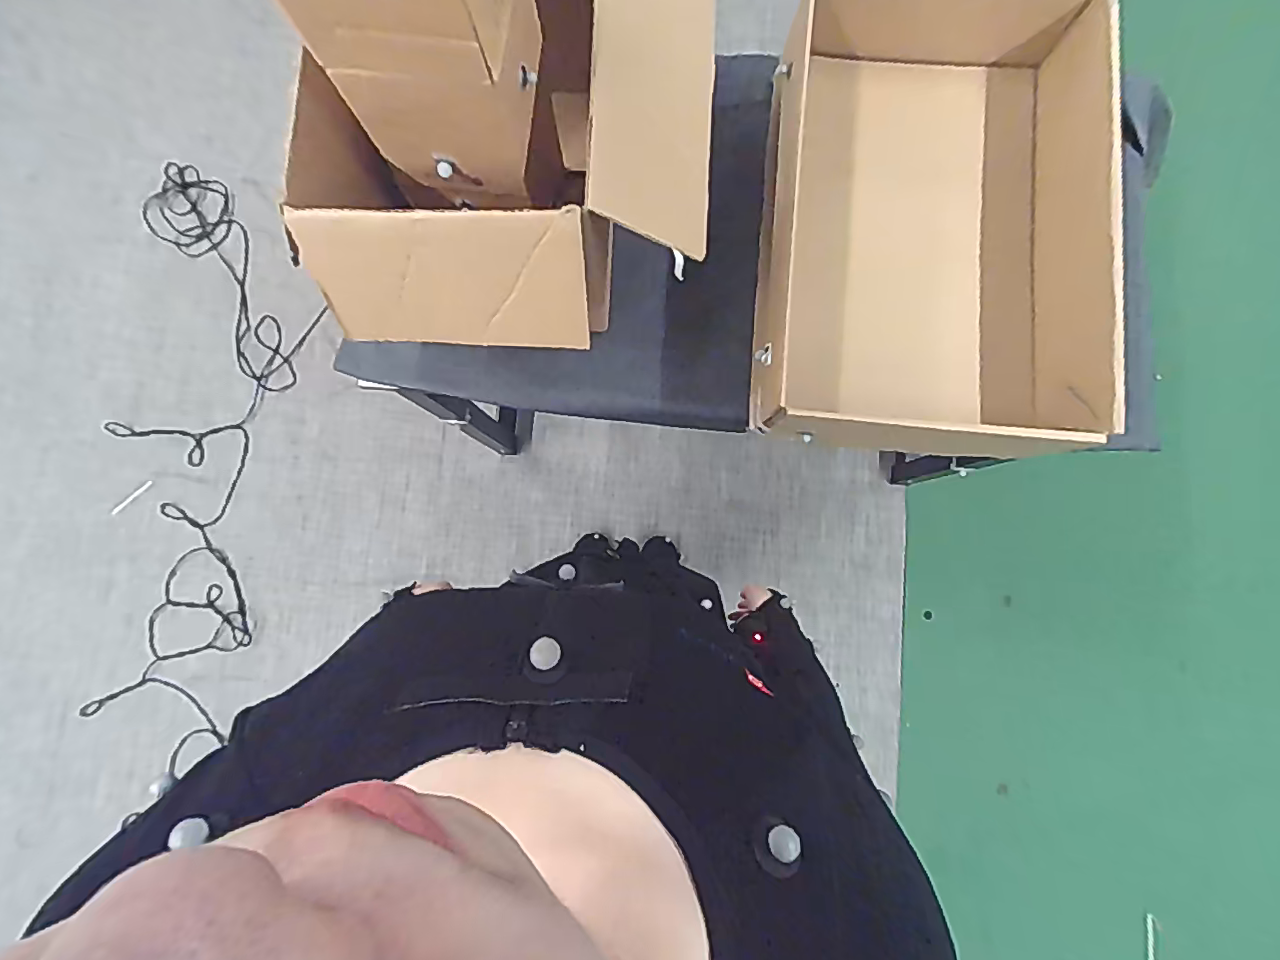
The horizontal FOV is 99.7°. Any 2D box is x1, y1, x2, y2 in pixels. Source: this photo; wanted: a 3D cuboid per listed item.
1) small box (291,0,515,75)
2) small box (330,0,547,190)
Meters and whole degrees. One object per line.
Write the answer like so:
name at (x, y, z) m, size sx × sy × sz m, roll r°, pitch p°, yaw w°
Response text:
small box at (-0.207, -0.475, 0.439) m, size 0.179 × 0.176 × 0.168 m, roll 8°, pitch 84°, yaw 0°
small box at (-0.204, -0.463, 0.600) m, size 0.168 × 0.176 × 0.179 m, roll 7°, pitch 86°, yaw 1°
